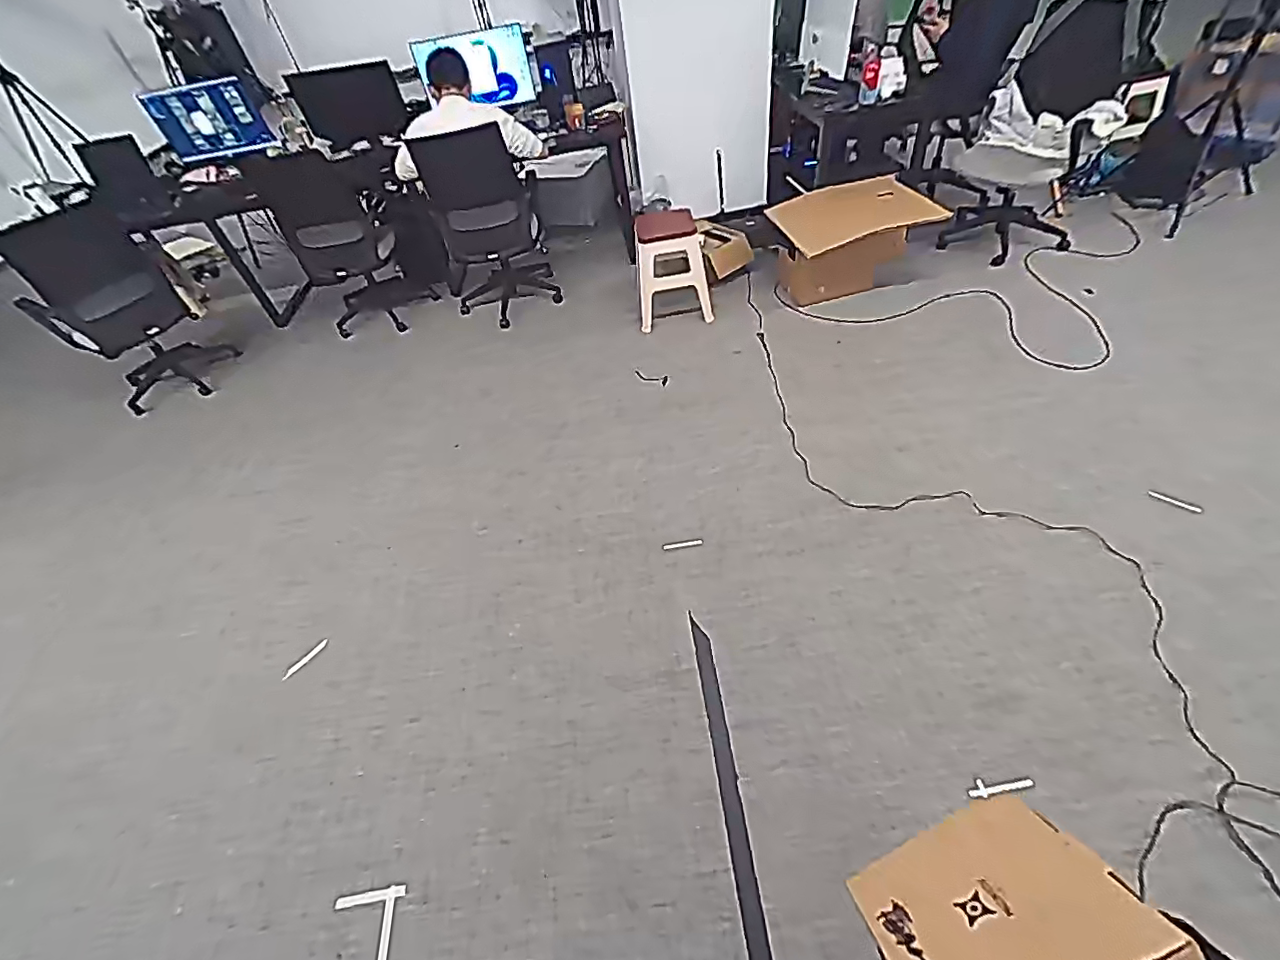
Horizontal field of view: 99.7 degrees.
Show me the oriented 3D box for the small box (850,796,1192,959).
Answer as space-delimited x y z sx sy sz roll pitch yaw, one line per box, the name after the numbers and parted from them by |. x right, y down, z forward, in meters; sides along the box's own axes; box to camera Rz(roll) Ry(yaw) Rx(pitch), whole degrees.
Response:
0.309 0.408 0.429 0.179 0.168 0.176 -27 90 -2 | small box
